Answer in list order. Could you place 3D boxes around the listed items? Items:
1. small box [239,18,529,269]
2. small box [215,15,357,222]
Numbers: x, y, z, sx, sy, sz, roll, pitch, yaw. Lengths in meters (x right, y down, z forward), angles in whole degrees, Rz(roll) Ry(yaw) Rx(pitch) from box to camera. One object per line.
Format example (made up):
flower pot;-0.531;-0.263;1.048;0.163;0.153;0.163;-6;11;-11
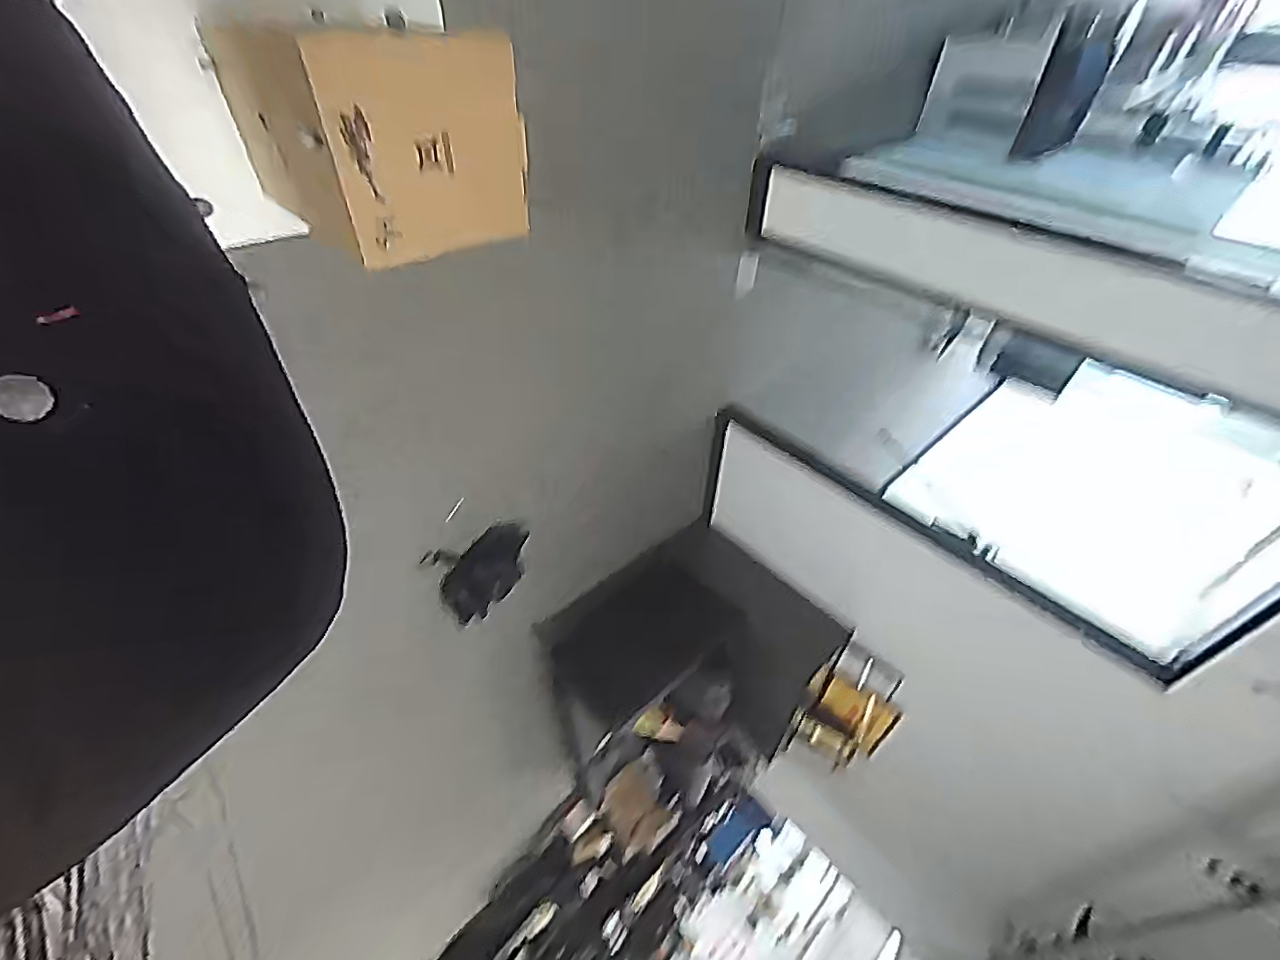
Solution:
small box;-0.230;-0.326;0.513;0.179;0.176;0.168;-31;142;-31
small box;-0.336;-0.408;0.607;0.179;0.176;0.168;-31;142;-30
